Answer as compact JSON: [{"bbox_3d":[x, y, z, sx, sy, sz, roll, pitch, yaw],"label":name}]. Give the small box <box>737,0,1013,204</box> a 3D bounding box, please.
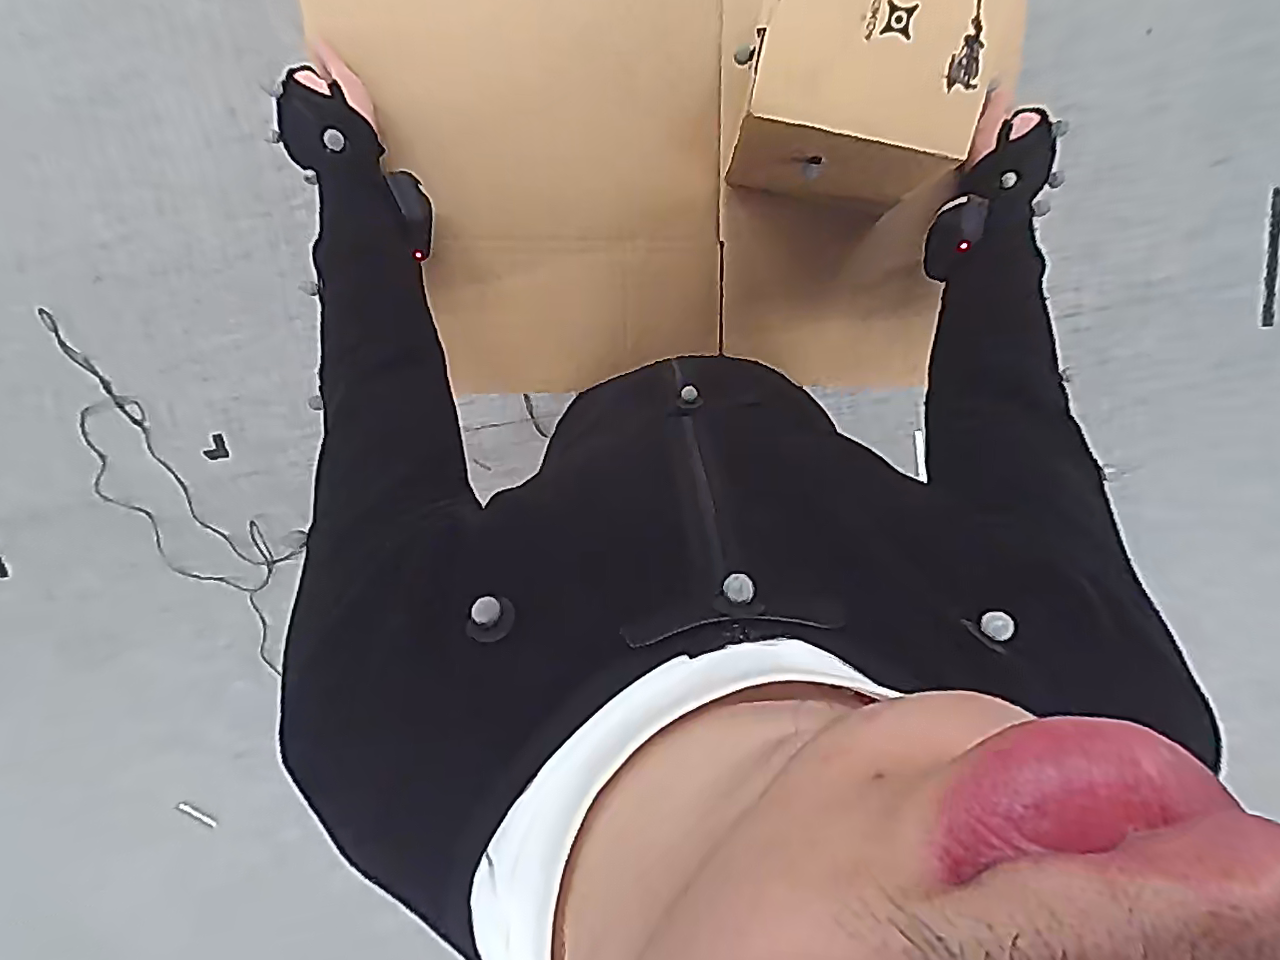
[{"bbox_3d":[0.192,-0.367,0.482,0.179,0.176,0.168,12,104,1],"label":"small box"}]
